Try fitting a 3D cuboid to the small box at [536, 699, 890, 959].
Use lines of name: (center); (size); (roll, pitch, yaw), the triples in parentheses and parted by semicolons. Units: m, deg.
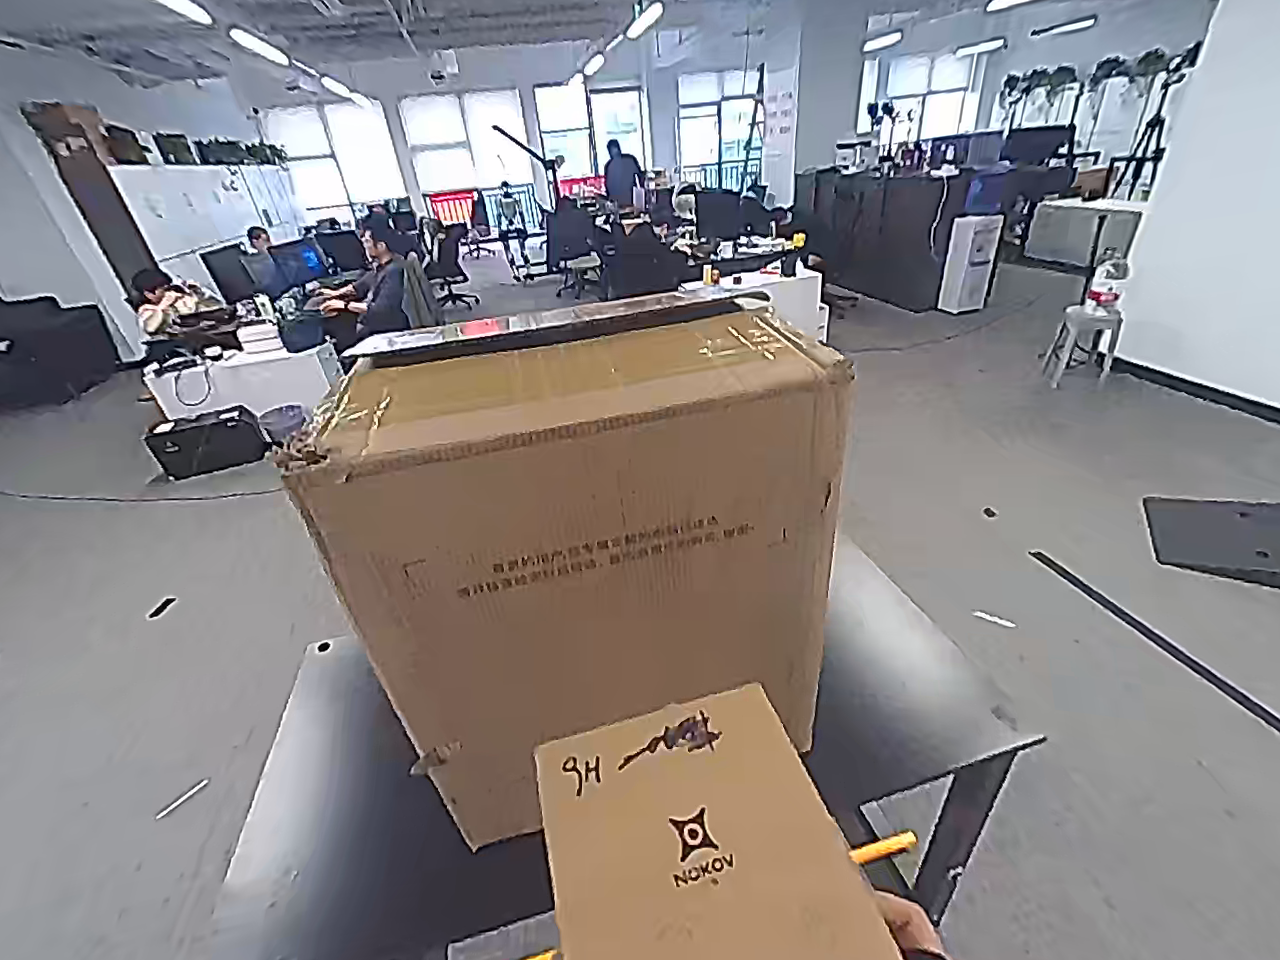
small box: (0.034, 0.286, 0.358); (0.168, 0.176, 0.179); (-11, 39, -13)
